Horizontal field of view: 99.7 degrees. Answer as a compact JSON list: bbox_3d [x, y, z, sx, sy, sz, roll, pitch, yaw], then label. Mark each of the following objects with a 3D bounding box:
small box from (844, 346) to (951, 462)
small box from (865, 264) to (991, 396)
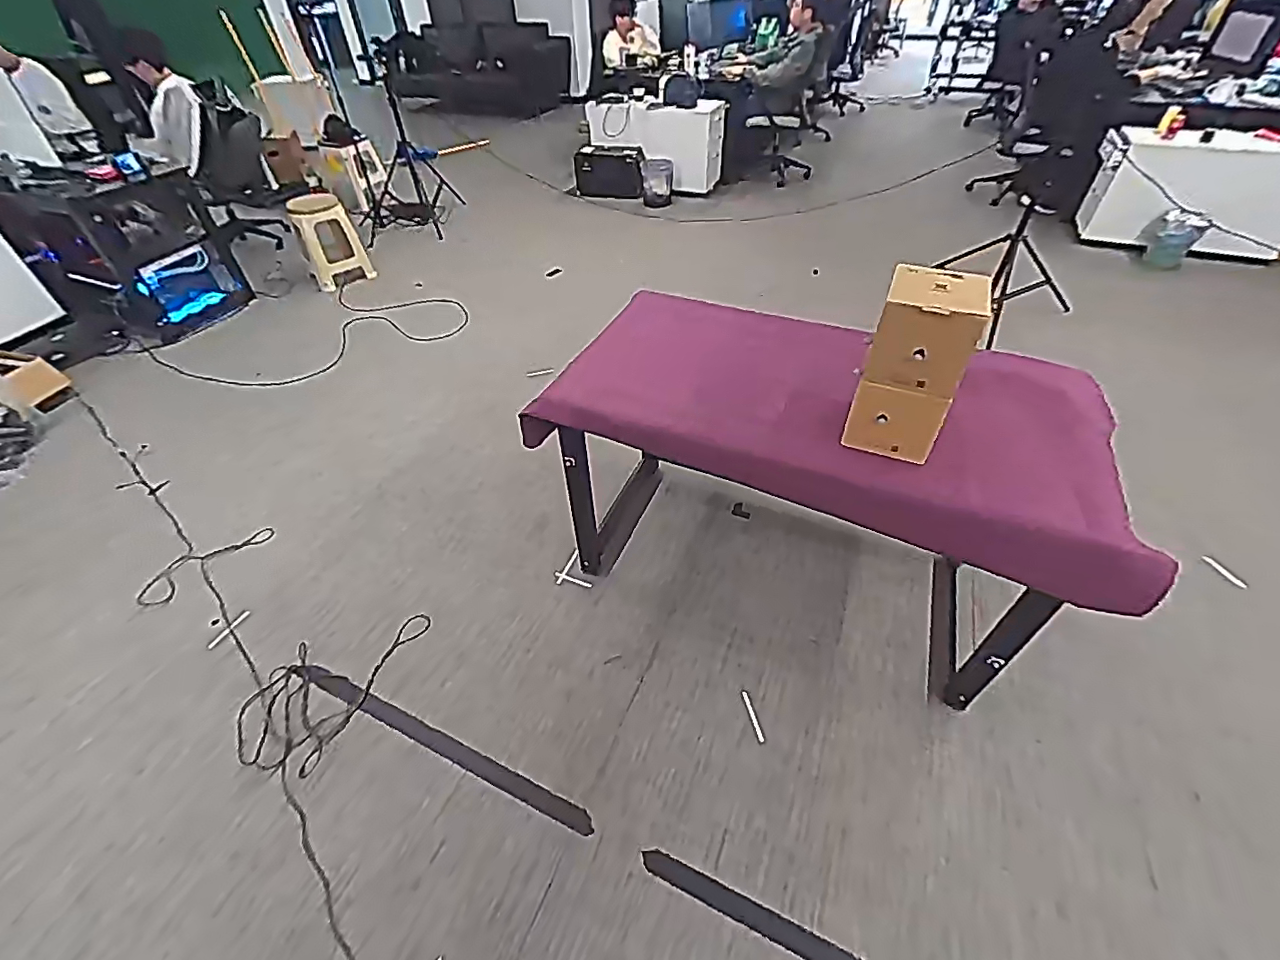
[{"bbox_3d":[0.540,-0.164,1.137,0.168,0.176,0.179,16,47,18],"label":"small box"},{"bbox_3d":[0.539,-0.283,1.025,0.168,0.176,0.179,17,48,19],"label":"small box"}]
